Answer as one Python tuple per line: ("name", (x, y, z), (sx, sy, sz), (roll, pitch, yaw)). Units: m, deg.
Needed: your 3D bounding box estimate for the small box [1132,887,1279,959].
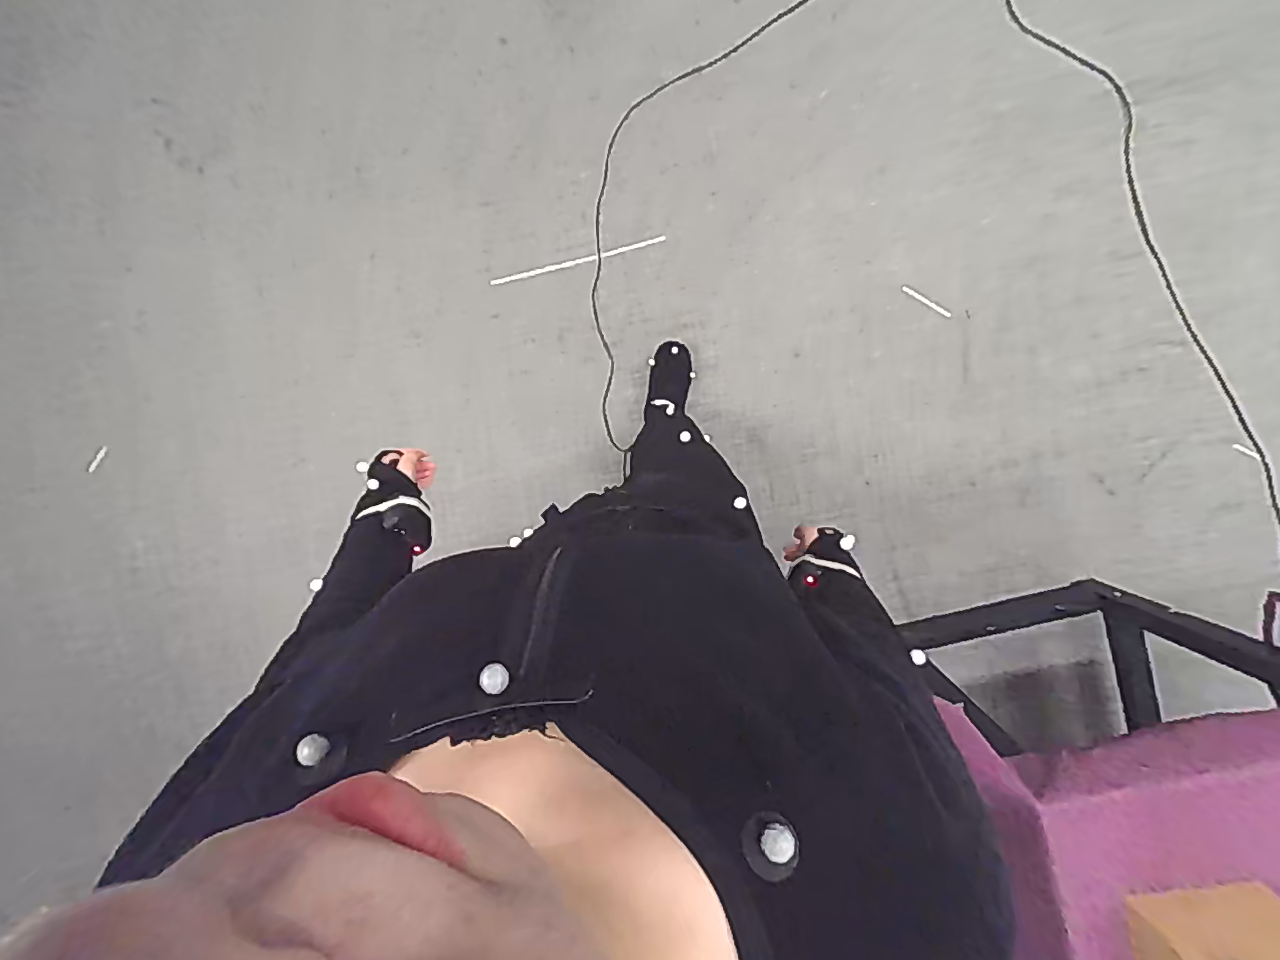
("small box", (0.763, 0.653, 0.671), (0.179, 0.176, 0.168), (-12, 95, 6))
